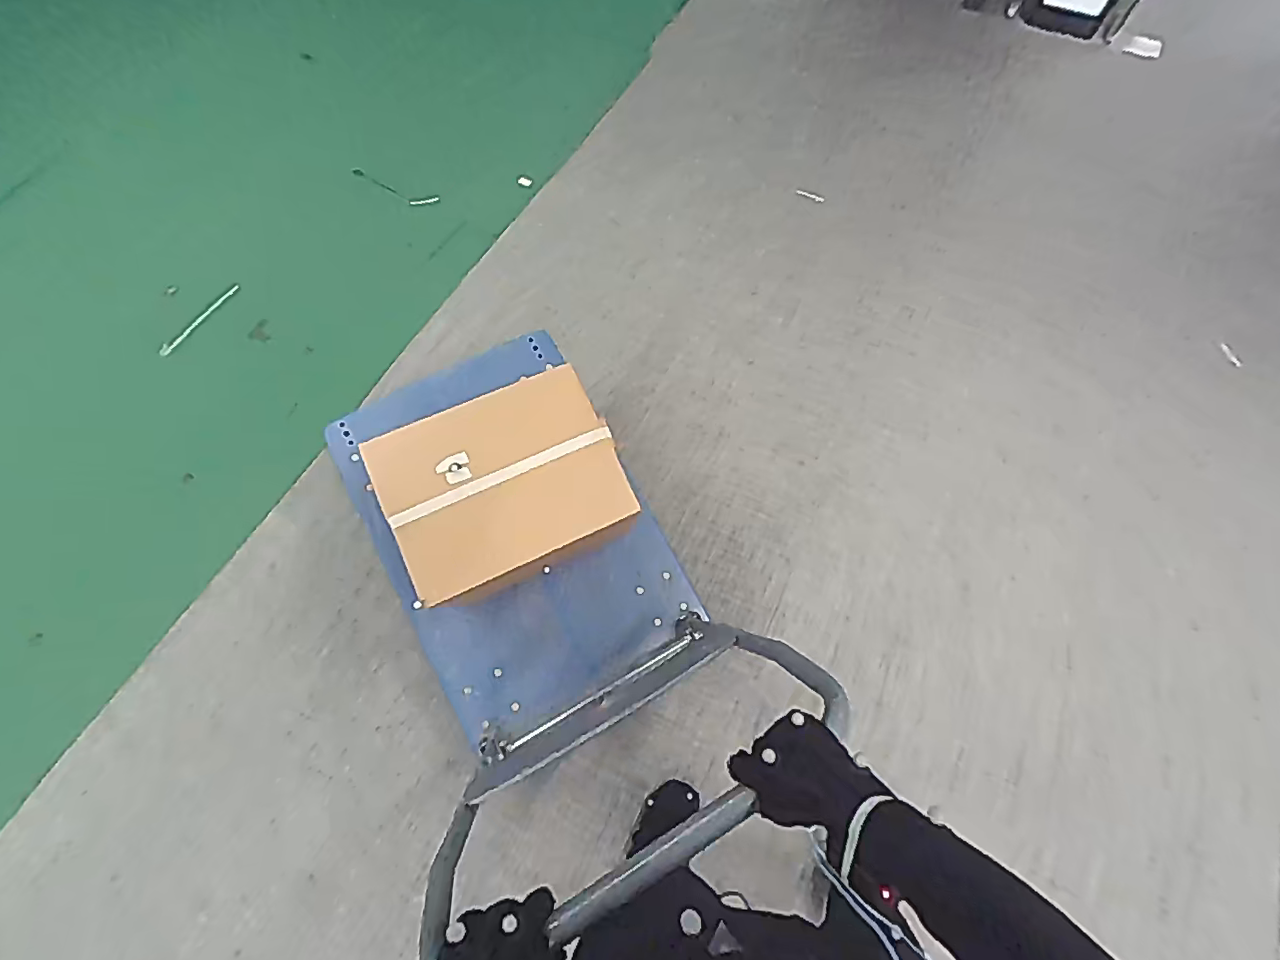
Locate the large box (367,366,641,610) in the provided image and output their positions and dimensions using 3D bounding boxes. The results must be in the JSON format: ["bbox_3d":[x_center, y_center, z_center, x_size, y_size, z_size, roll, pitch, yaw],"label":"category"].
[{"bbox_3d":[-0.250,0.029,1.101,0.408,0.320,0.320,-24,81,-9],"label":"large box"}]
